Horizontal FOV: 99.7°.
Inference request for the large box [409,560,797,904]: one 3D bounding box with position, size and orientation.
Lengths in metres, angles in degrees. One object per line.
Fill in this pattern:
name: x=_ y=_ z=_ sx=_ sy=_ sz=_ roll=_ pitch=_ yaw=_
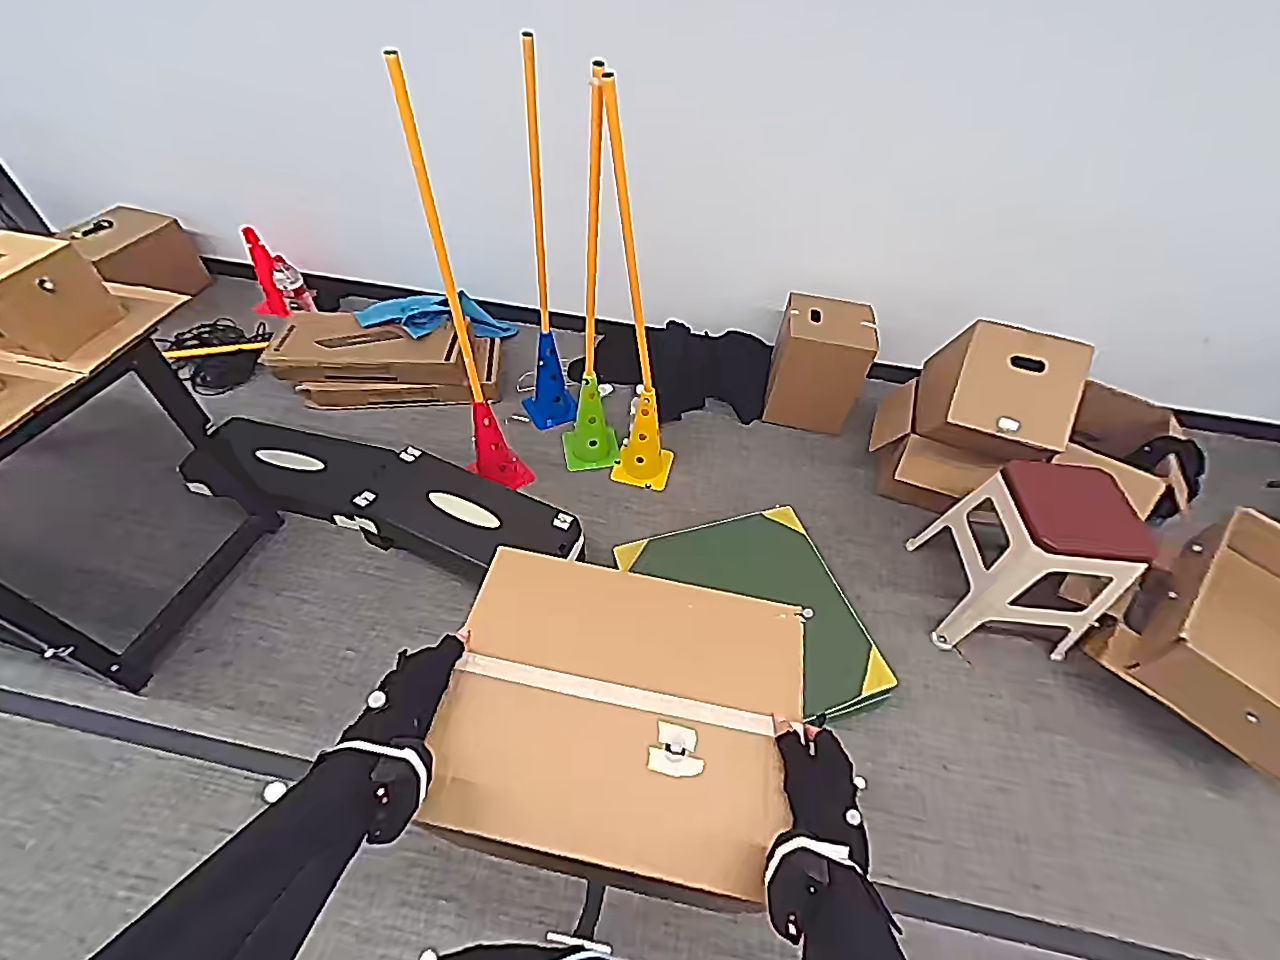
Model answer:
large box: x=-0.031 y=0.350 z=0.744 sx=0.408 sy=0.320 sz=0.320 roll=11 pitch=52 yaw=3
